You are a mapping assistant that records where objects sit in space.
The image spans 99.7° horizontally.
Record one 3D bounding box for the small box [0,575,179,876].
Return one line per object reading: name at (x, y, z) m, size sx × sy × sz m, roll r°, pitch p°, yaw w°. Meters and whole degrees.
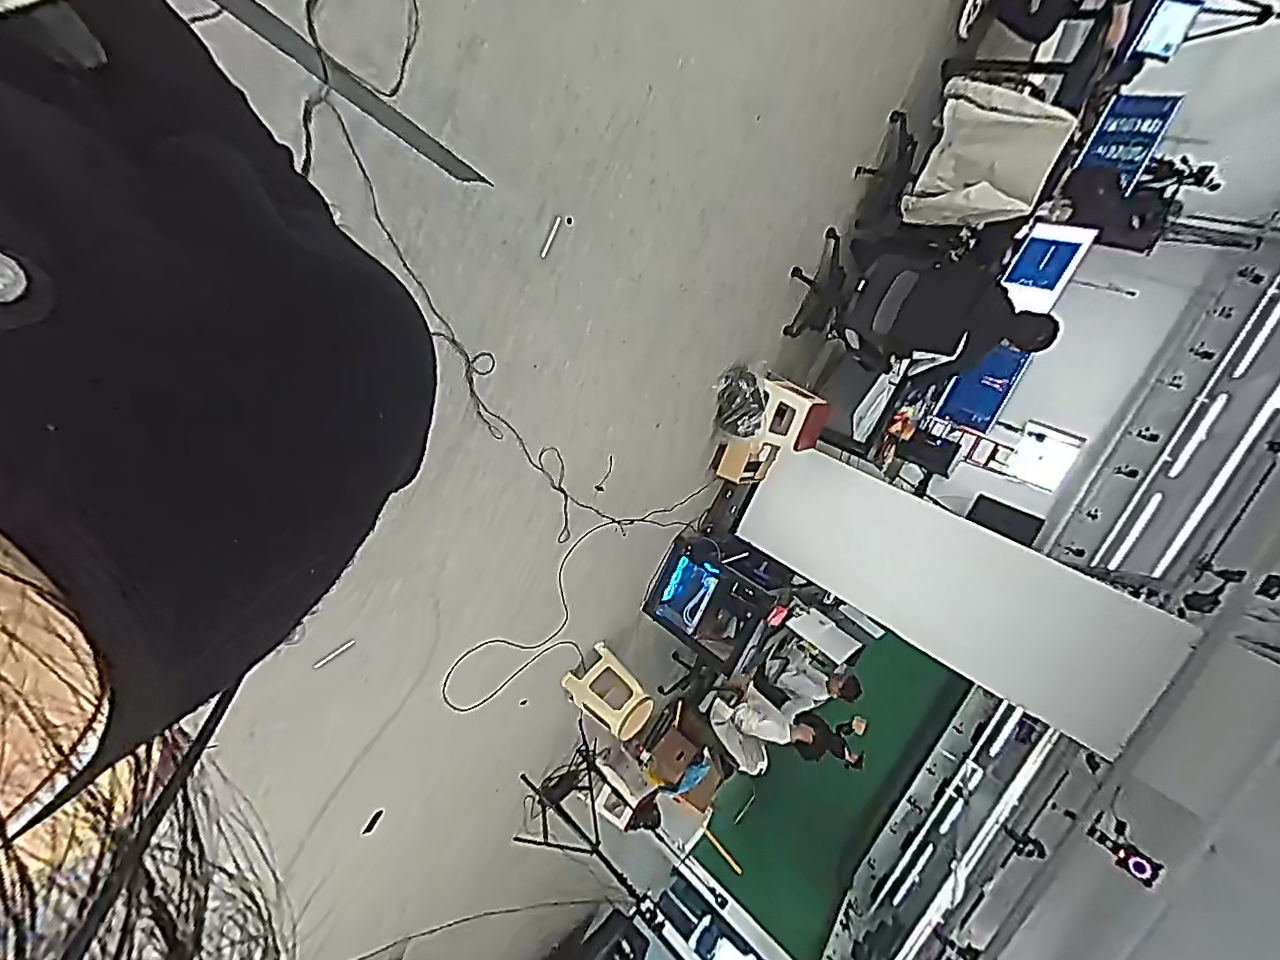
small box at (-0.523, 0.195, 0.436) m, size 0.179 × 0.176 × 0.168 m, roll 4°, pitch 115°, yaw -57°
